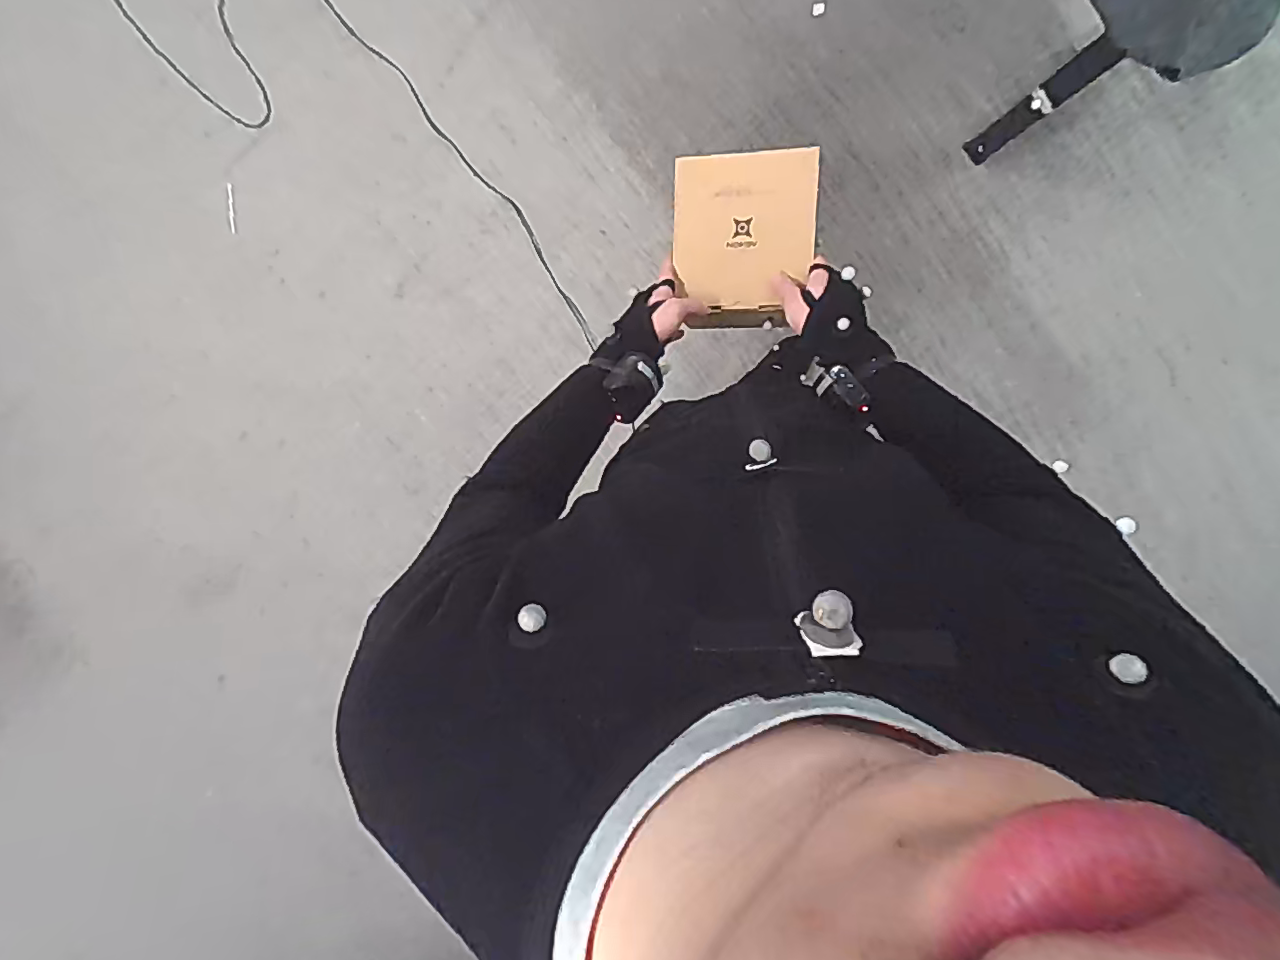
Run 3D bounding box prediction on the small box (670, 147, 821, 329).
[{"bbox_3d":[0.134,-0.293,0.696,0.168,0.176,0.179,2,96,11],"label":"small box"}]
